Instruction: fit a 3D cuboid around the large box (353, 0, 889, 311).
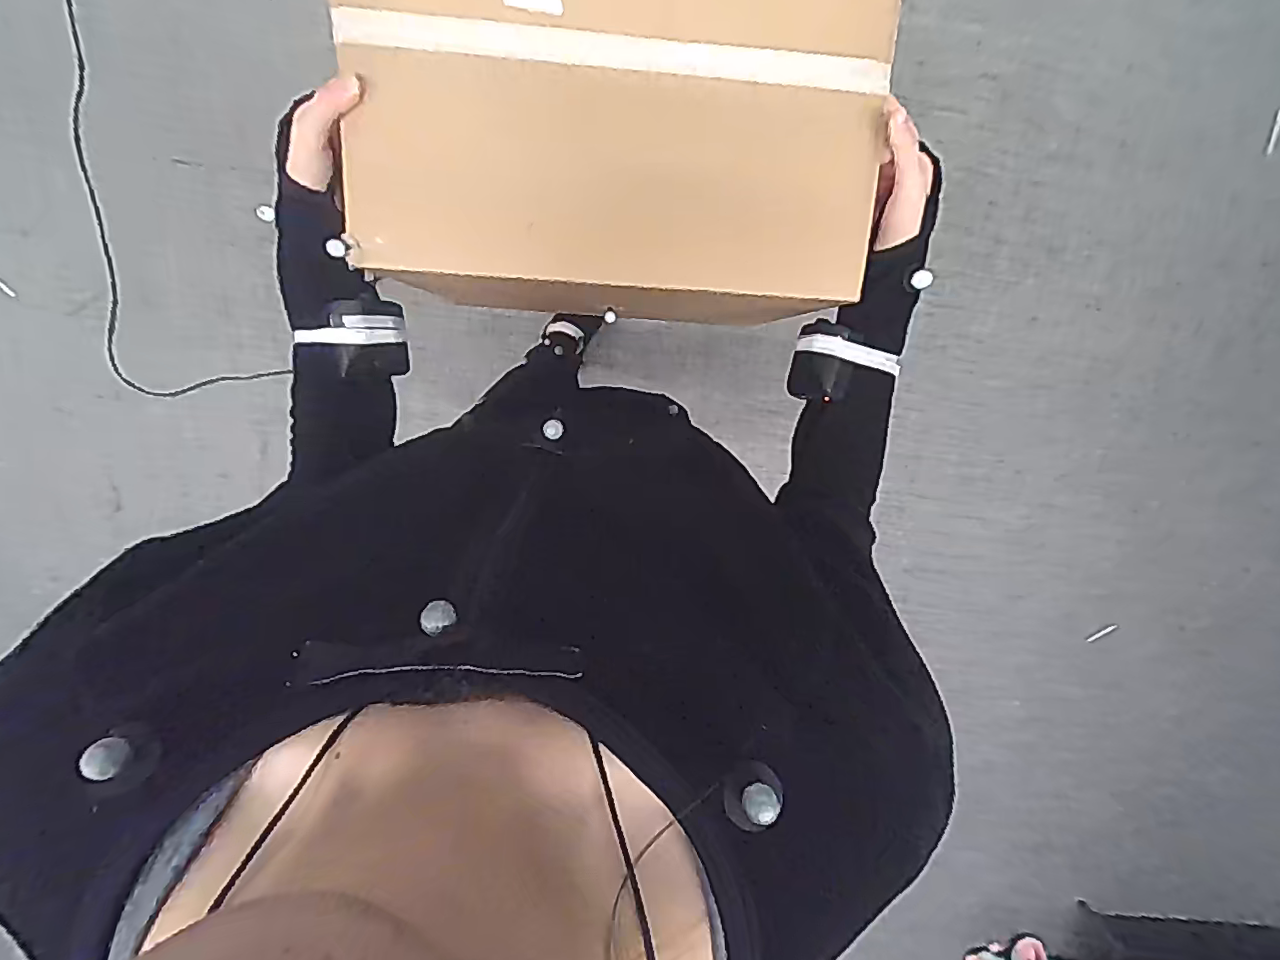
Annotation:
[{"bbox_3d":[-0.020,-0.351,0.554,0.408,0.320,0.320,4,103,-4],"label":"large box"}]
